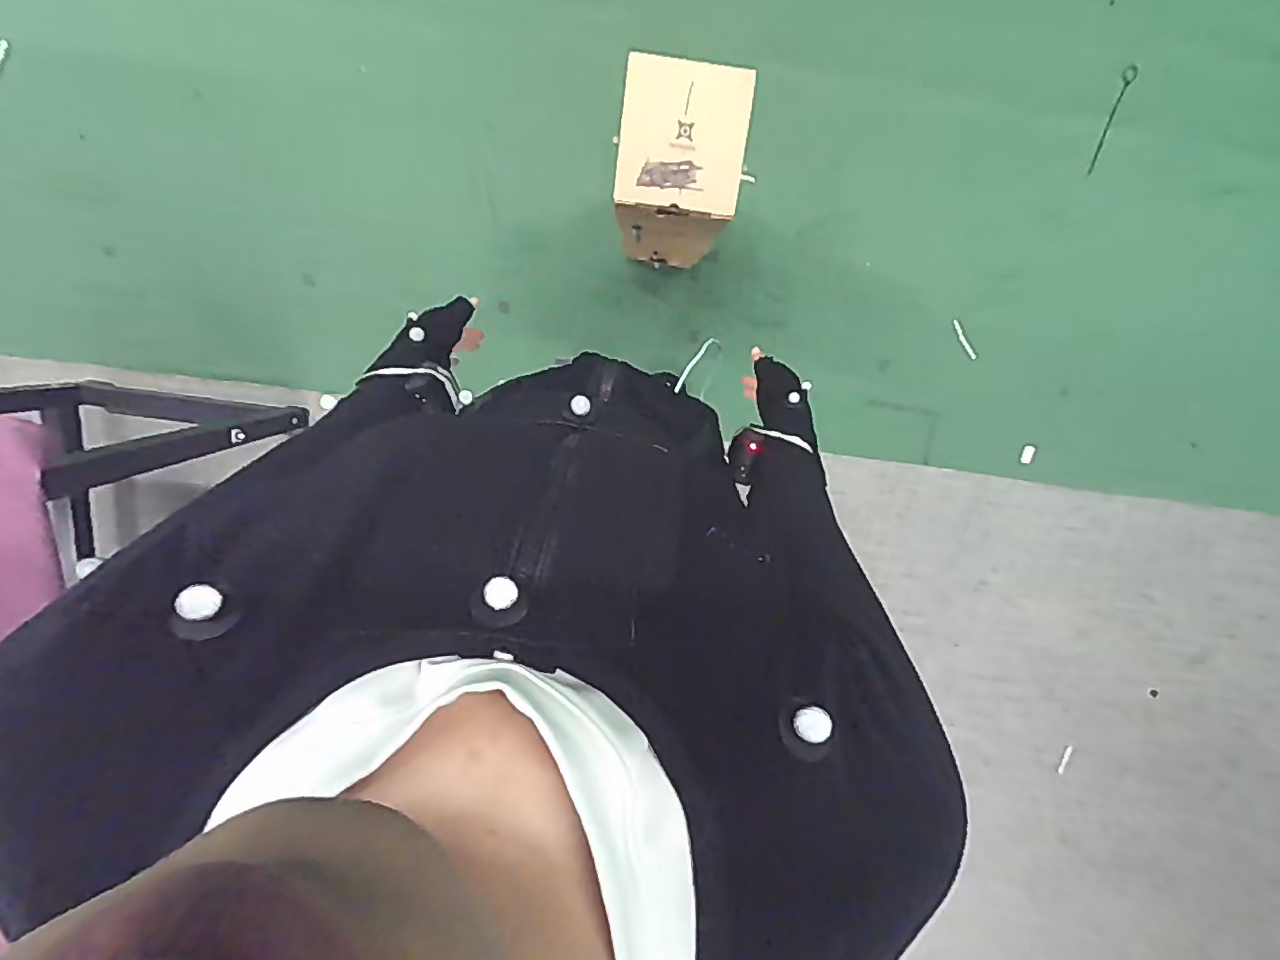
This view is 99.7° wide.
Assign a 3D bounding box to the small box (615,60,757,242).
[{"bbox_3d":[0.059,-0.457,0.783,0.168,0.176,0.179,7,104,-2],"label":"small box"}]

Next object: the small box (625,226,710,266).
[{"bbox_3d":[0.061,-0.549,1.100,0.168,0.176,0.179,7,105,-2],"label":"small box"}]

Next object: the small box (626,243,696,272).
[{"bbox_3d":[0.062,-0.597,1.256,0.168,0.176,0.179,9,104,-2],"label":"small box"}]
